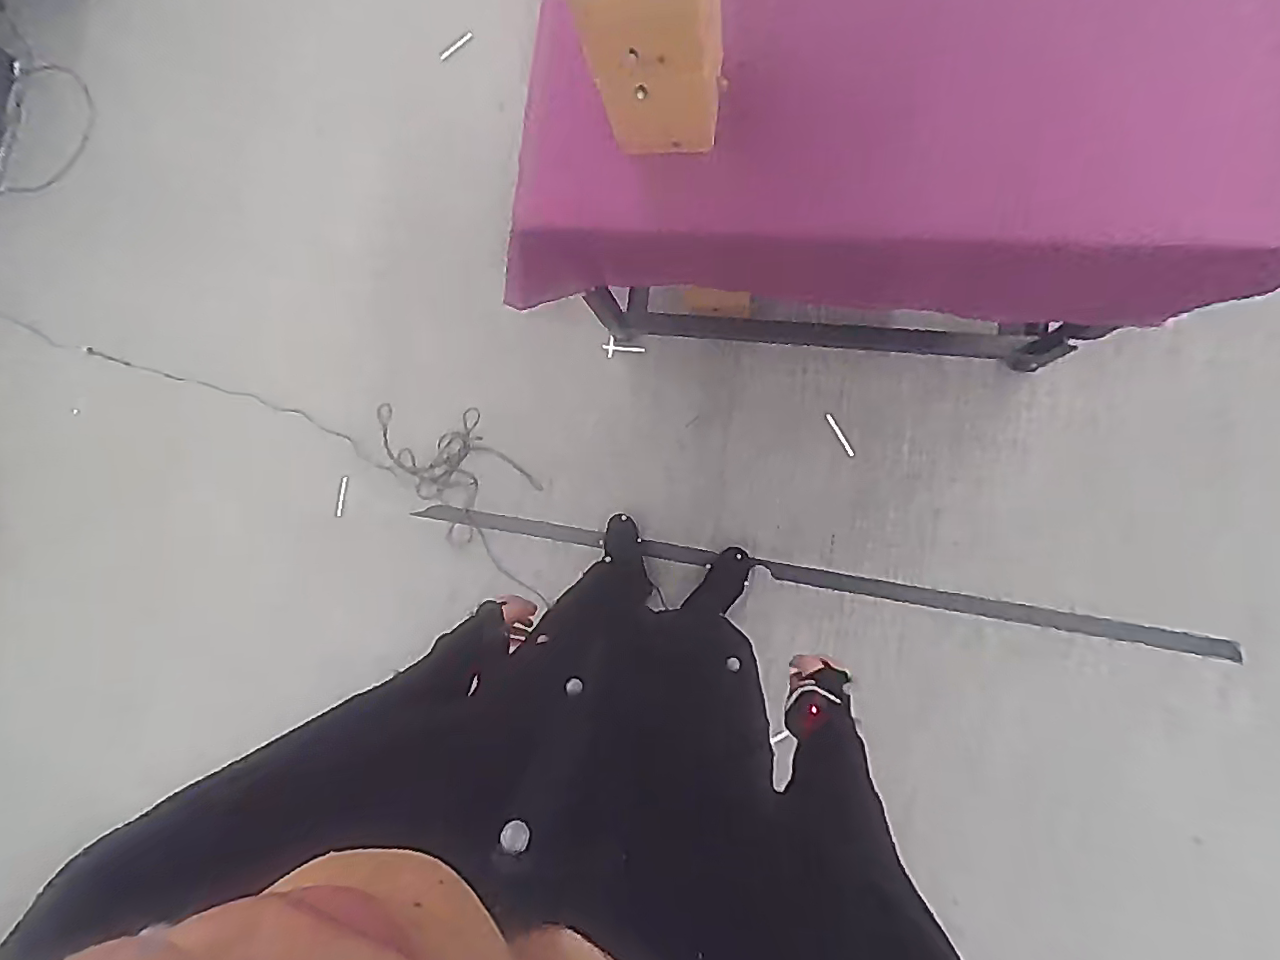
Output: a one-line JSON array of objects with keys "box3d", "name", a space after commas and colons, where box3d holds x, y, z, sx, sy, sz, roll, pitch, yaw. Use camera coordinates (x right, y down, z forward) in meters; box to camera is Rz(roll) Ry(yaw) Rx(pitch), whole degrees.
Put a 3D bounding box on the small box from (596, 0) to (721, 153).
[{"box3d": [0.039, -0.660, 0.862, 0.168, 0.176, 0.179, 6, 87, 11], "name": "small box"}]
